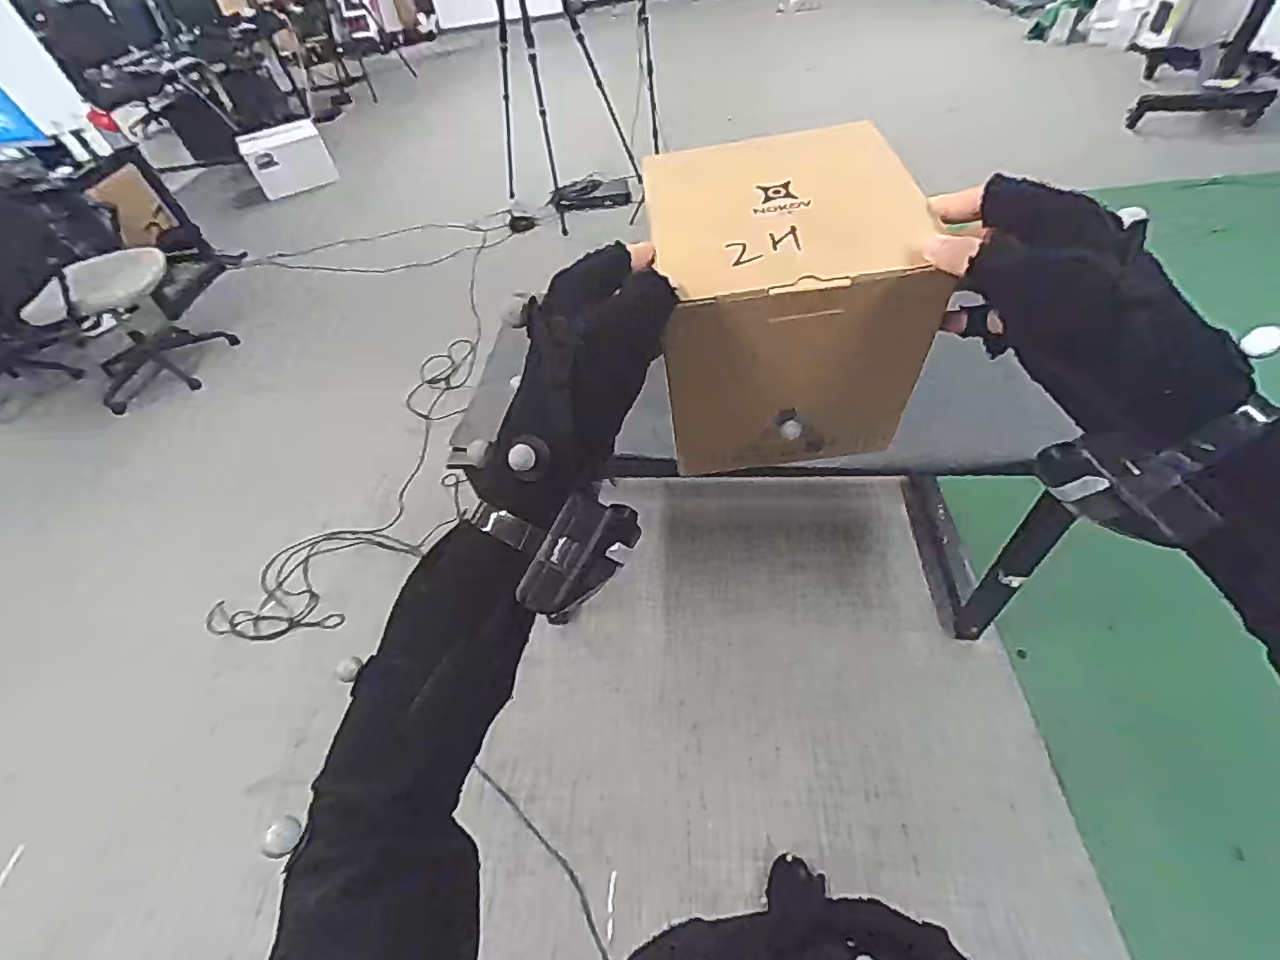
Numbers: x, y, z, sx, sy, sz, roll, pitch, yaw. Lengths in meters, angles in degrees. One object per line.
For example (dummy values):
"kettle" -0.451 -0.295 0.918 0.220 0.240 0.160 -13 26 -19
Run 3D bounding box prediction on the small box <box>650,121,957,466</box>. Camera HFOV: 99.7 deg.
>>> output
"small box" 0.100 -0.134 0.413 0.168 0.176 0.179 -7 55 6
